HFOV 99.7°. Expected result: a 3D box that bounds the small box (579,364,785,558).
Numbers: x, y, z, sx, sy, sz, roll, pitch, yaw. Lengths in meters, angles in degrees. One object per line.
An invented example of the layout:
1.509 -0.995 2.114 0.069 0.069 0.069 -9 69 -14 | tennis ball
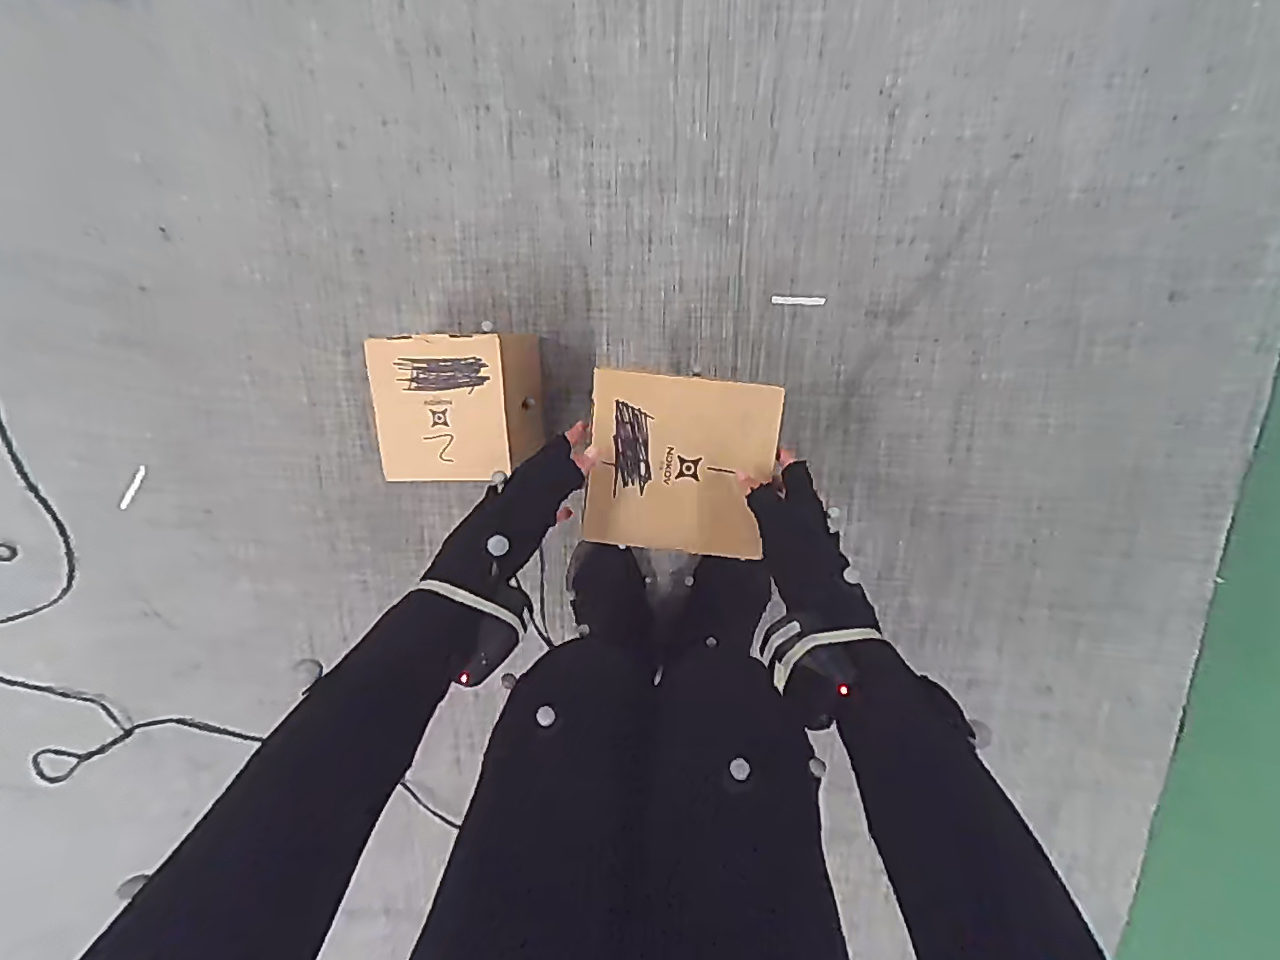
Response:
0.041 -0.027 0.579 0.179 0.176 0.168 6 99 2 | small box
